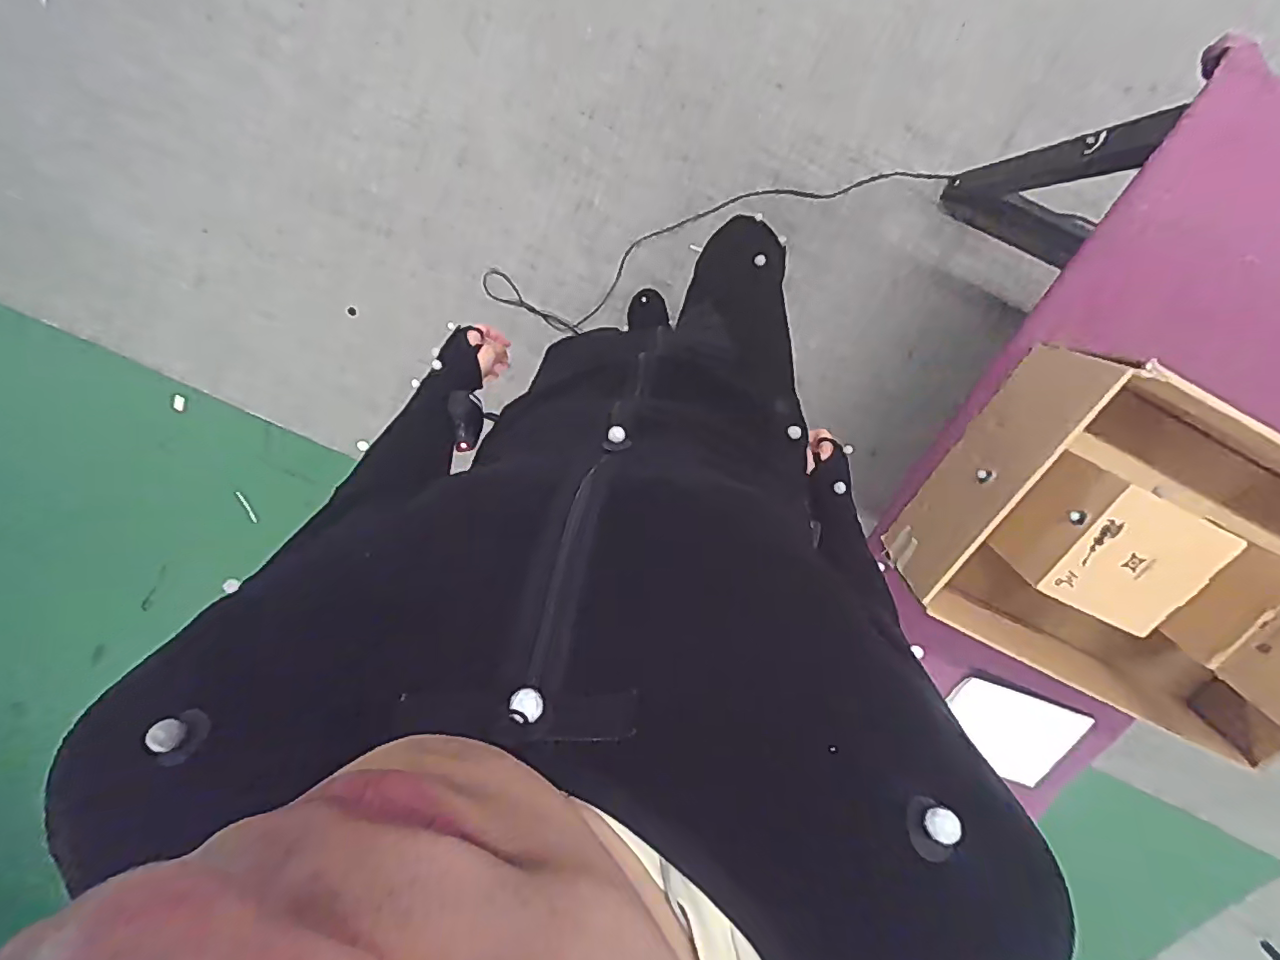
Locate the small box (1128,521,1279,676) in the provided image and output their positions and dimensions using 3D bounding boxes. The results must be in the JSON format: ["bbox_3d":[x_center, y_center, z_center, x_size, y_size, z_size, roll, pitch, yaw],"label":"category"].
[{"bbox_3d":[0.874,0.183,0.765,0.179,0.176,0.168,24,113,-3],"label":"small box"}]

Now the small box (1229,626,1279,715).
[{"bbox_3d":[0.866,0.248,0.614,0.179,0.176,0.168,23,113,-4],"label":"small box"}]
